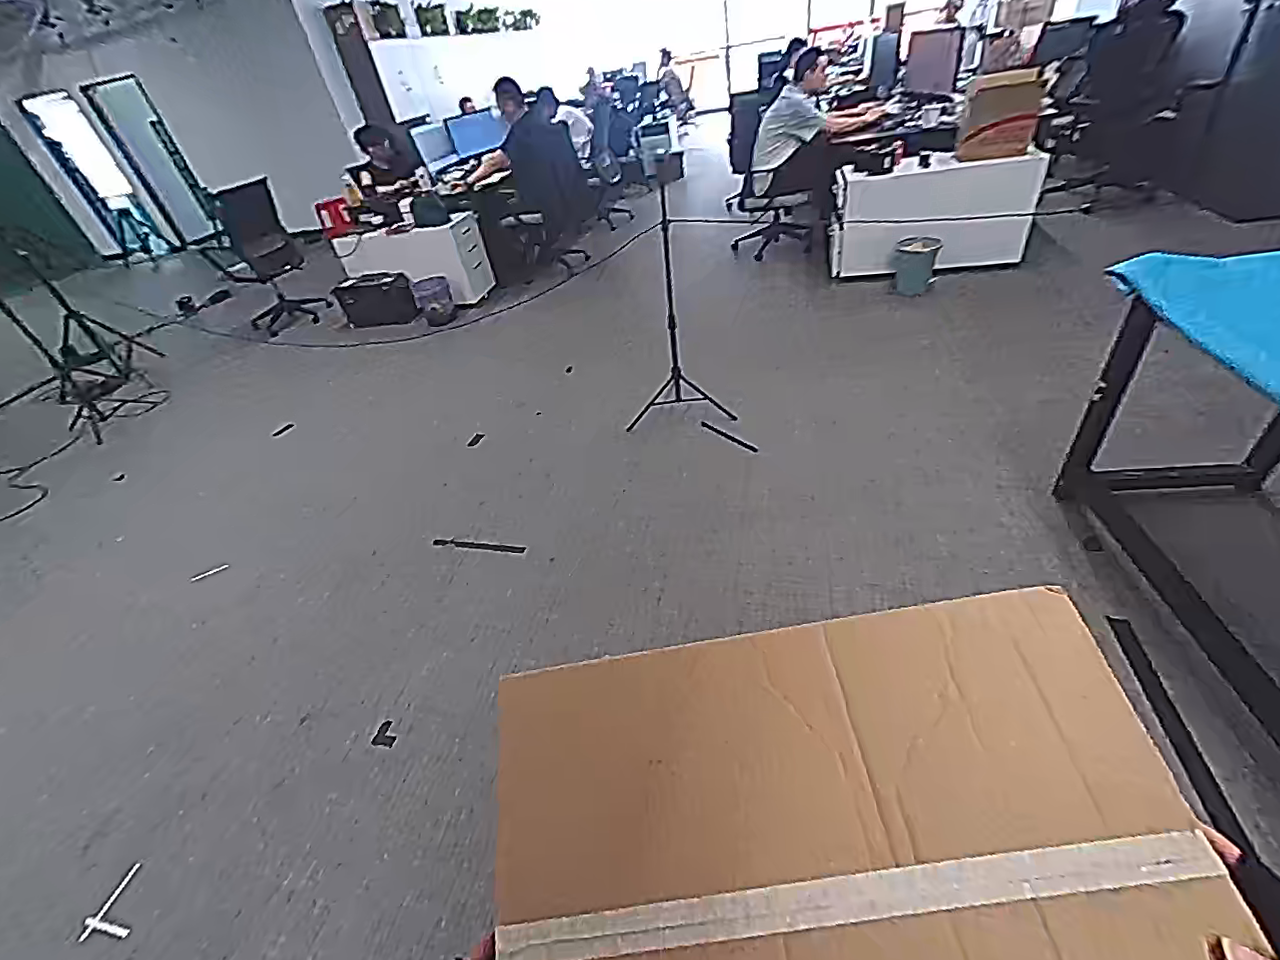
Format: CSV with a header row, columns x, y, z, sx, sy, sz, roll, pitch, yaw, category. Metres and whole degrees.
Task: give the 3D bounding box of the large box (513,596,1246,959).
x,y,z,sx,sy,sz,roll,pitch,yaw,category
0.138,0.325,0.446,0.408,0.320,0.320,-11,59,4,large box
